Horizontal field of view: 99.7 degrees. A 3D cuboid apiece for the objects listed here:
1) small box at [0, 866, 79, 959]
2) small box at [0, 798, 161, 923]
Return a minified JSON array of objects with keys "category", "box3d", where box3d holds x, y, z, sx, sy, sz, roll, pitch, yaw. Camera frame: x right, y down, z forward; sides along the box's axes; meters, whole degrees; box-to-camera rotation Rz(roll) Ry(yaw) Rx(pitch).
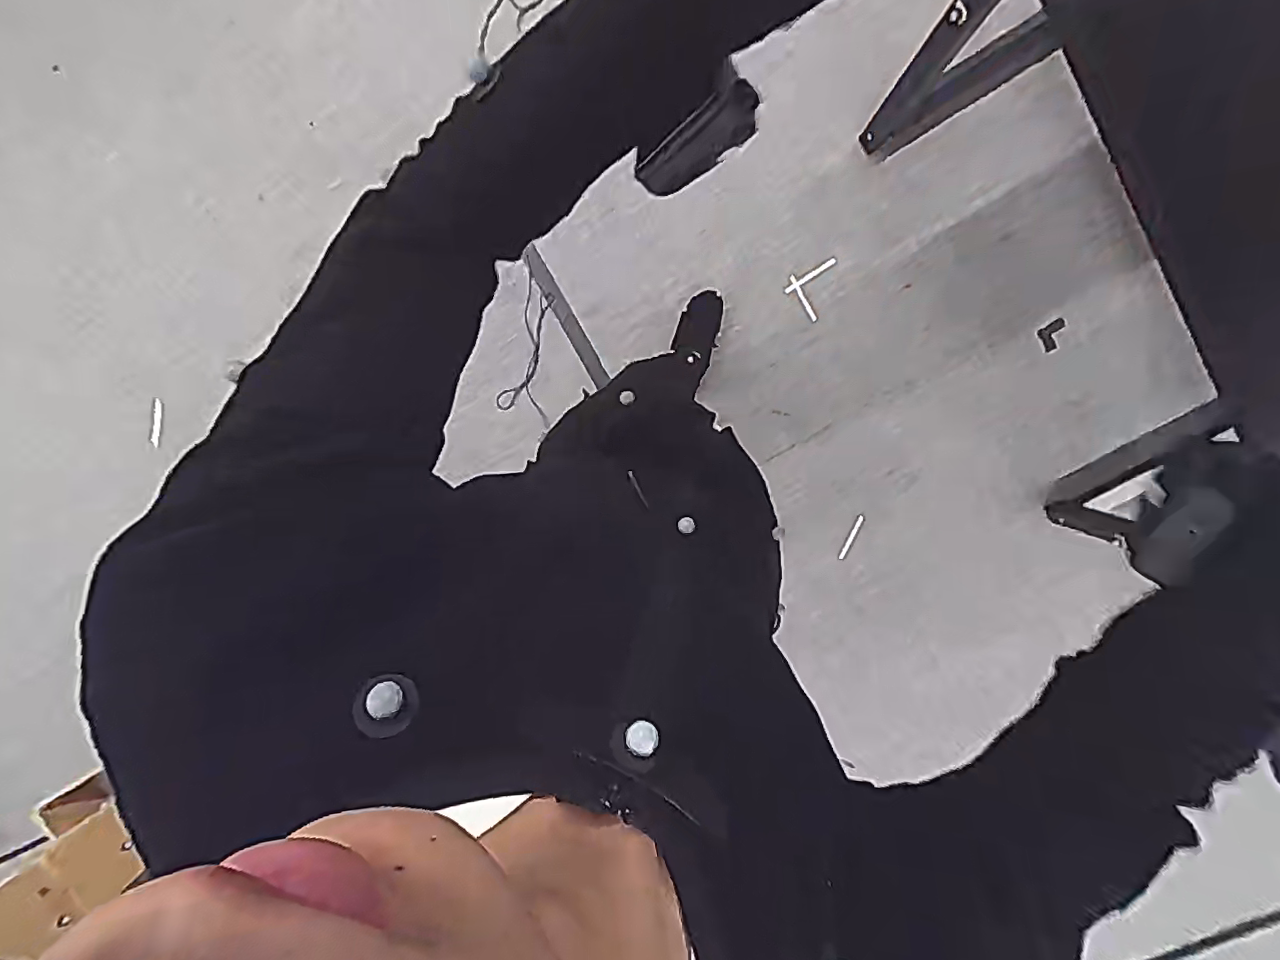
[{"category":"small box","box3d":[-1.253,0.897,1.036,0.179,0.176,0.168,-36,95,10]},{"category":"small box","box3d":[-1.234,0.855,1.195,0.179,0.176,0.168,-33,96,9]}]
